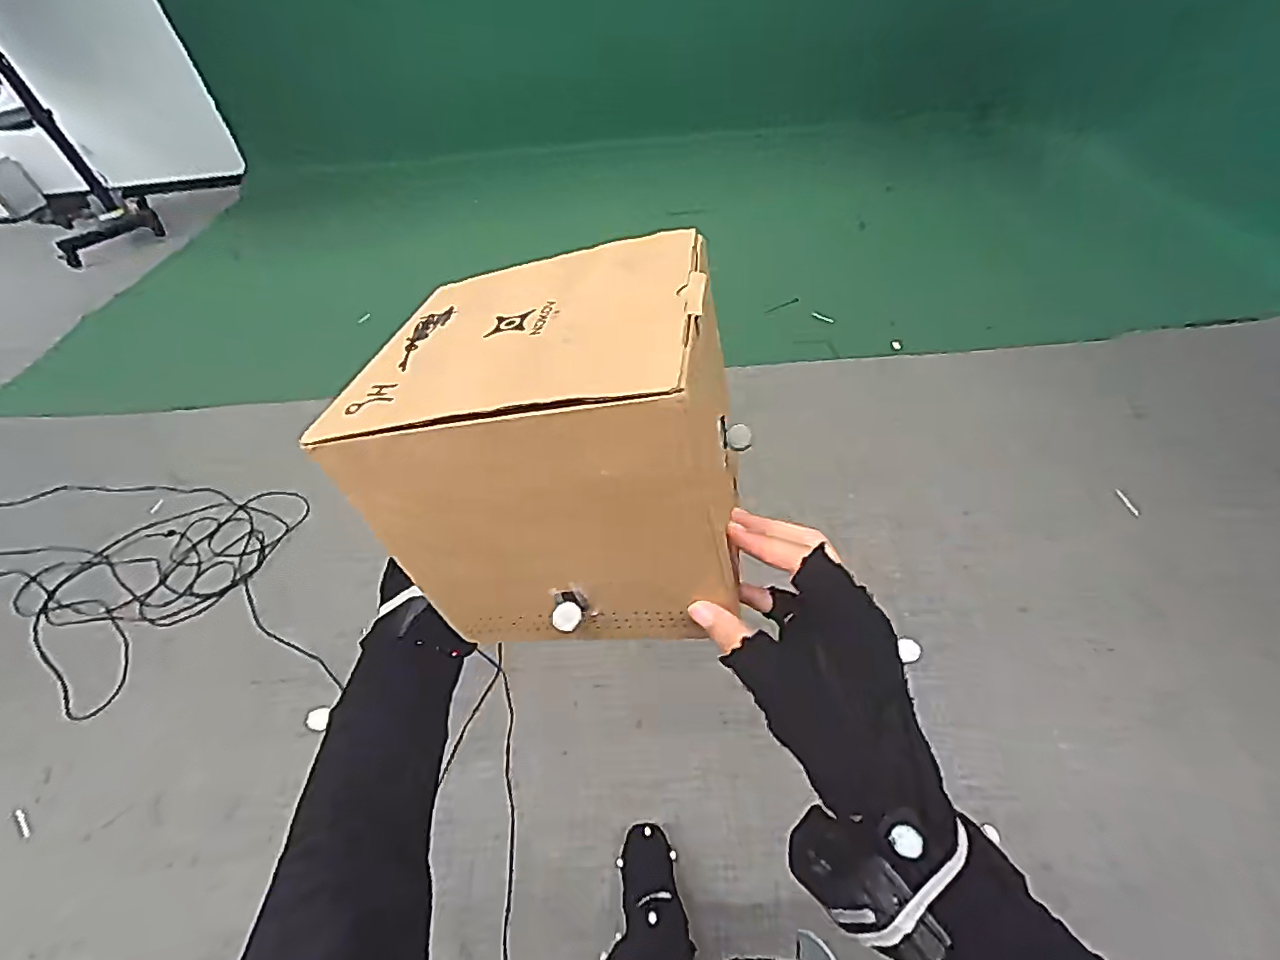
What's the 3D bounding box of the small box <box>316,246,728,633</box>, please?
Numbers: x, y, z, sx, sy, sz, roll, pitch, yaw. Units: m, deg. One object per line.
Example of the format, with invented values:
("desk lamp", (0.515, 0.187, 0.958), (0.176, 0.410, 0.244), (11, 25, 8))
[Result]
("small box", (-0.040, -0.019, 0.339), (0.179, 0.176, 0.168), (-5, 42, 15))
